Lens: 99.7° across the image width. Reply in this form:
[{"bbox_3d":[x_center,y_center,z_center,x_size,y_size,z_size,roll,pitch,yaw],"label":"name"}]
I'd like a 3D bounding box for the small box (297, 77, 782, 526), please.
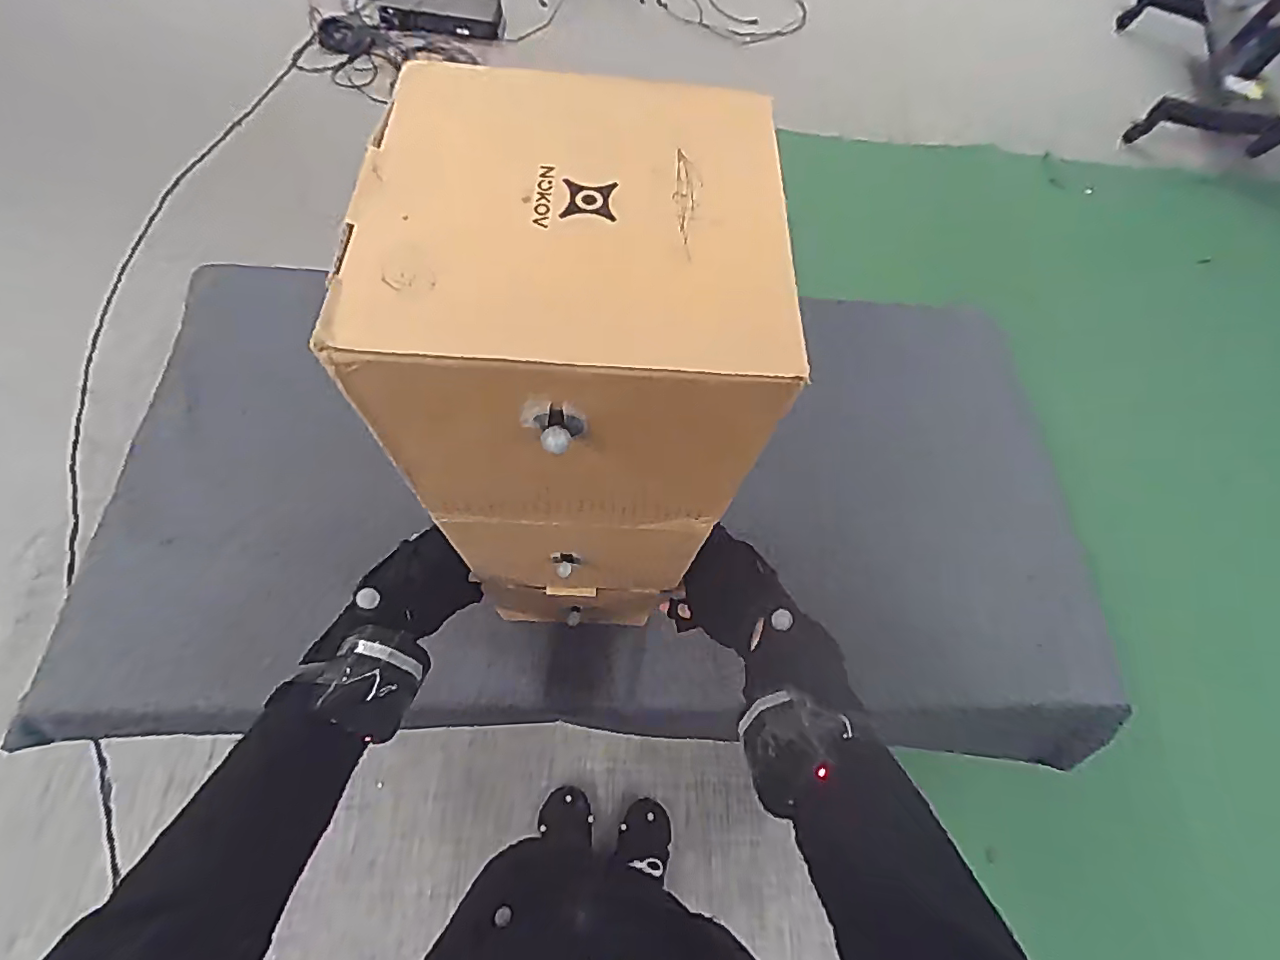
[{"bbox_3d":[-0.039,-0.078,0.297,0.179,0.176,0.168,1,66,-5],"label":"small box"}]

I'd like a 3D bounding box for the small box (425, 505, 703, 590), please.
[{"bbox_3d":[-0.051,-0.010,0.443,0.179,0.176,0.168,1,65,-3],"label":"small box"}]

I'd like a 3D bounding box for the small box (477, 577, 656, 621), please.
[{"bbox_3d":[-0.069,0.056,0.593,0.168,0.176,0.179,2,66,-4],"label":"small box"}]
